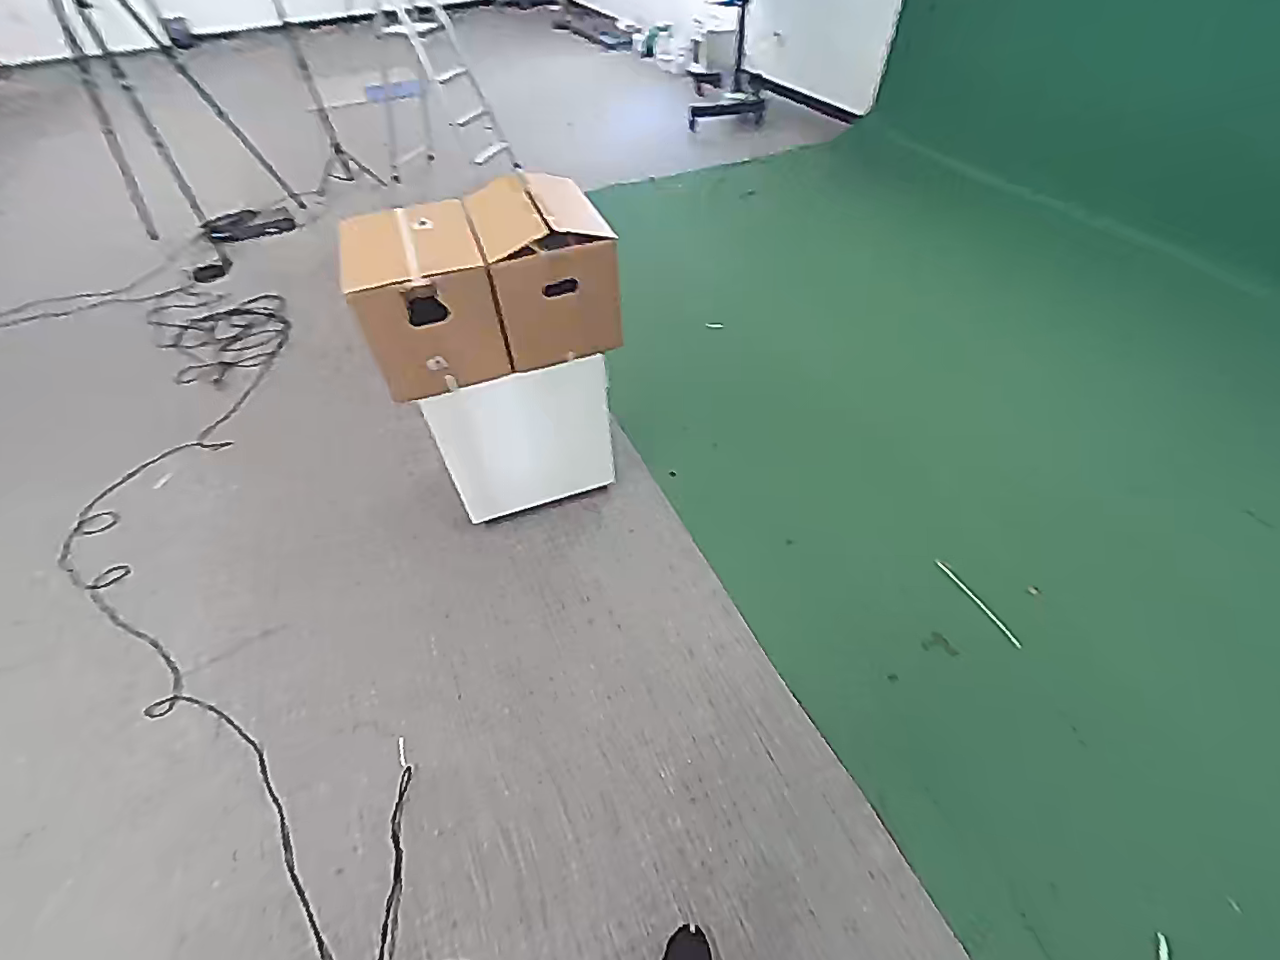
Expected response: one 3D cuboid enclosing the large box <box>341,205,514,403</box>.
[{"bbox_3d":[-0.556,-0.470,1.430,0.320,0.320,0.408,-18,50,-12],"label":"large box"}]
